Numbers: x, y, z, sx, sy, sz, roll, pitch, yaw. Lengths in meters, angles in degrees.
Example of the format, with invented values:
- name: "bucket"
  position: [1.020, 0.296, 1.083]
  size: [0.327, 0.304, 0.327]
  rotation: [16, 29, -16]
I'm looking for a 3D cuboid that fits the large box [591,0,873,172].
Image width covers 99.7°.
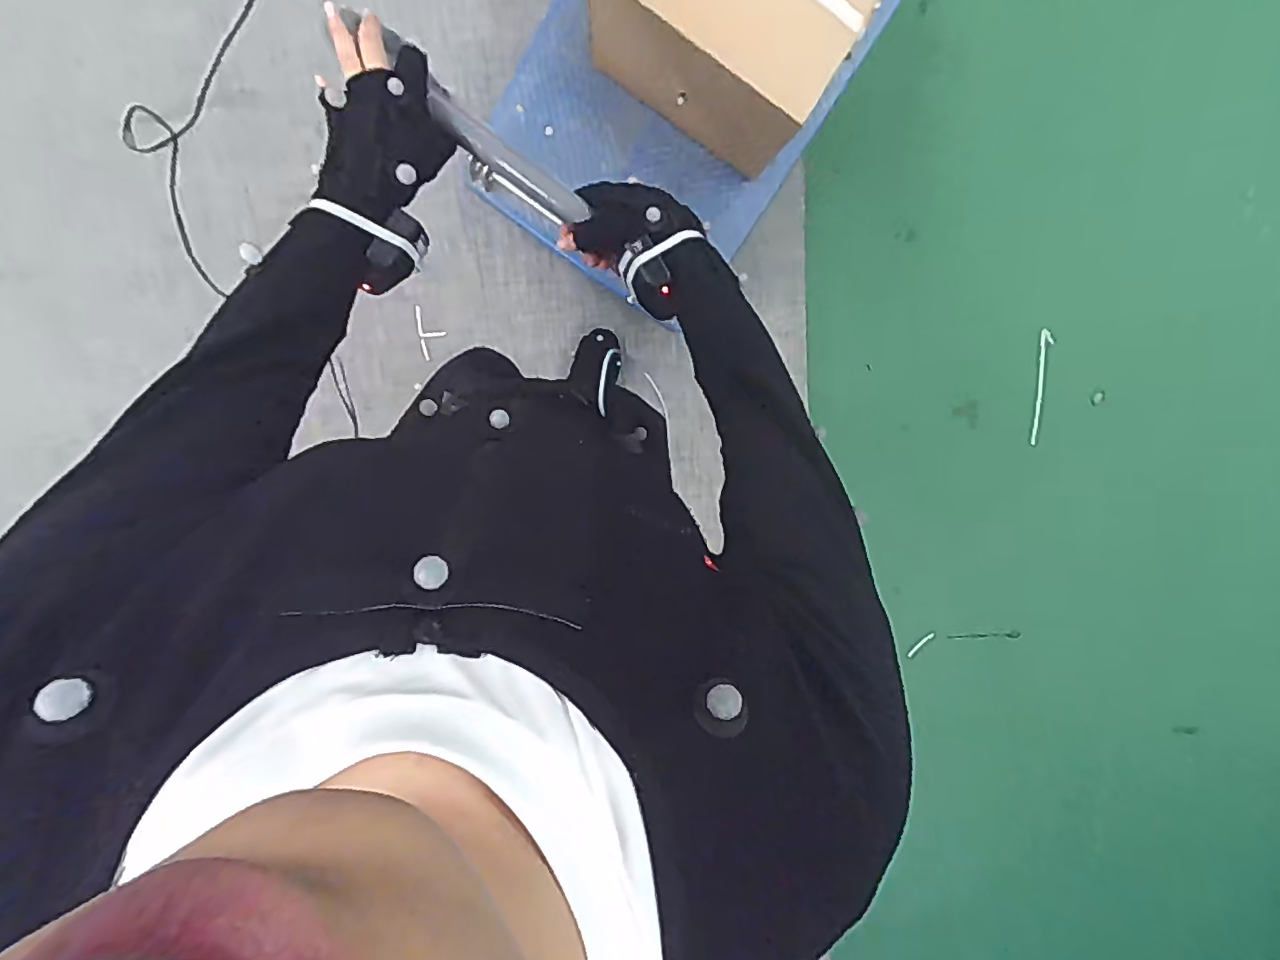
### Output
- name: "large box"
  position: [0.162, -0.839, 0.956]
  size: [0.408, 0.320, 0.320]
  rotation: [30, 99, -10]
